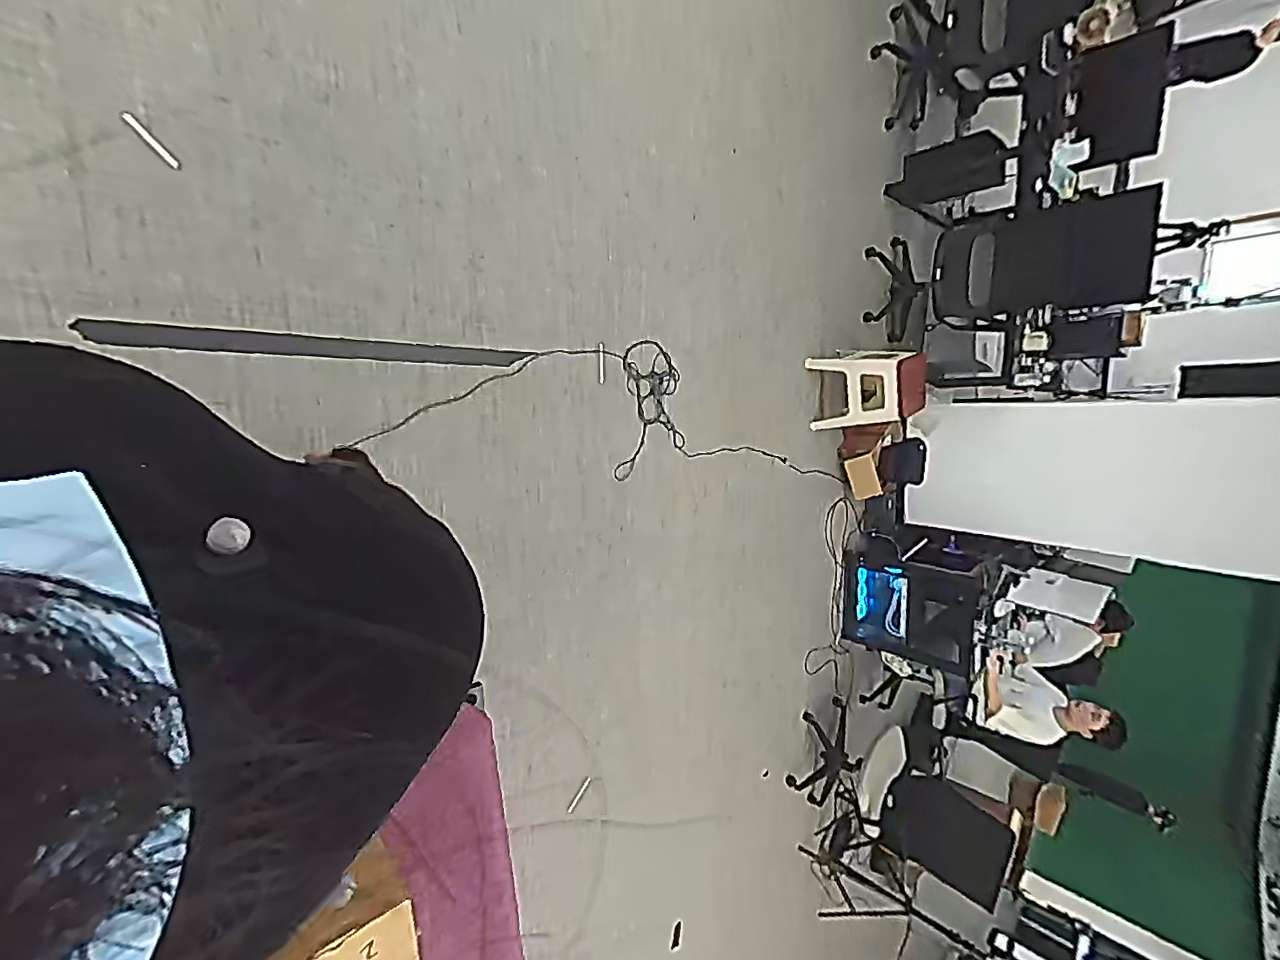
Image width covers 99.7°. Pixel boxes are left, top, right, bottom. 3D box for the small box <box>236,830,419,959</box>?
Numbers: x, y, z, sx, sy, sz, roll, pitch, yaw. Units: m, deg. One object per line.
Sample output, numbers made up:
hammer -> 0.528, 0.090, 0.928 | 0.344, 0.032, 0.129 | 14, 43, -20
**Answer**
small box -> -0.391, 0.601, 0.684 | 0.168, 0.176, 0.179 | -12, 103, -41
